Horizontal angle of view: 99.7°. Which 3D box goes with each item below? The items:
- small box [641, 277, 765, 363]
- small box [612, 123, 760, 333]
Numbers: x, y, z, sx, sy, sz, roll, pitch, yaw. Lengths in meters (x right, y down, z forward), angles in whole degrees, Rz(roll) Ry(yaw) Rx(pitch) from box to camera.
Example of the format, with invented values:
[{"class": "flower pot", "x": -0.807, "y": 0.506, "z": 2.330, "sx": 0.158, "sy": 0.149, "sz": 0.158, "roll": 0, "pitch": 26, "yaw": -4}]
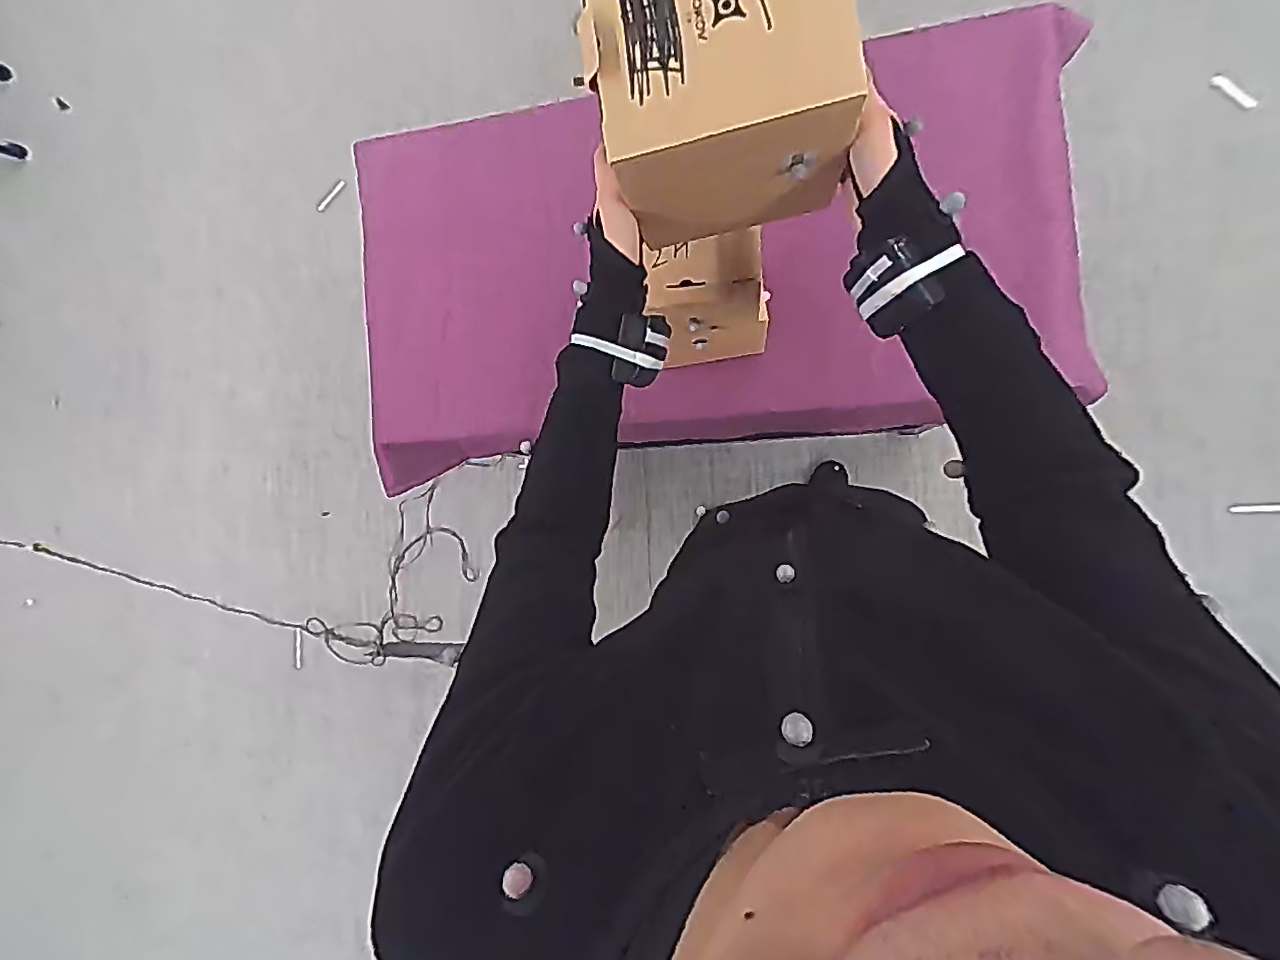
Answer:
[{"class": "small box", "x": 0.095, "y": -0.289, "z": 0.840, "sx": 0.179, "sy": 0.176, "sz": 0.168, "roll": -7, "pitch": 87, "yaw": 10}, {"class": "small box", "x": 0.063, "y": -0.299, "z": 0.678, "sx": 0.168, "sy": 0.176, "sz": 0.179, "roll": -1, "pitch": 88, "yaw": 11}]
